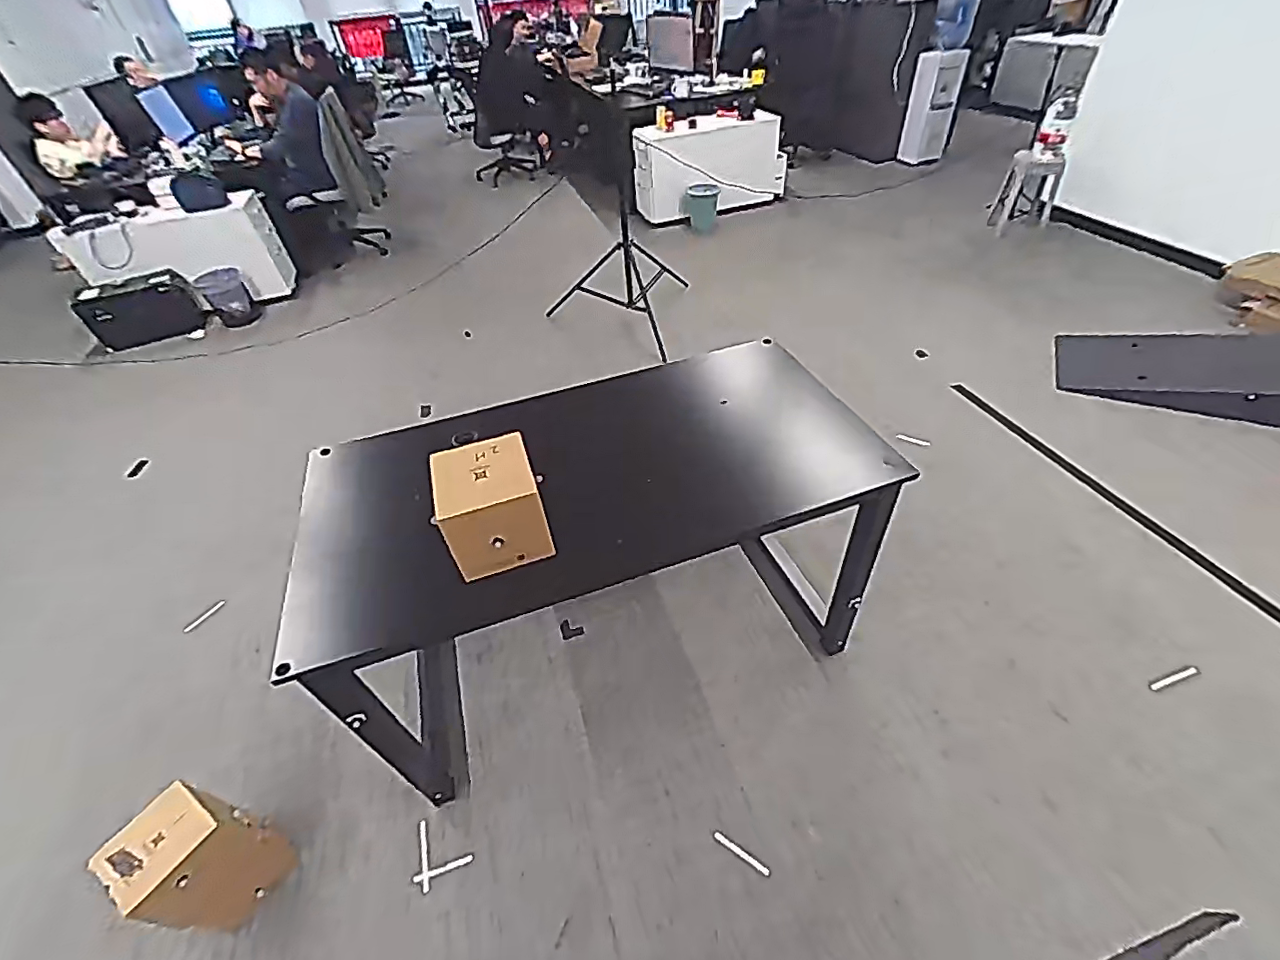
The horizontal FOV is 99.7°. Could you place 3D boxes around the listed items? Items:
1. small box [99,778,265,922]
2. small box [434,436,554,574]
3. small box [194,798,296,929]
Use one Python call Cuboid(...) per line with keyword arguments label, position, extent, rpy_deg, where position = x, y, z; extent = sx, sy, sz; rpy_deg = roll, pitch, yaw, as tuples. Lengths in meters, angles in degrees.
Cuboid(label="small box", position=(-0.943, 0.775, 1.130), extent=(0.168, 0.176, 0.179), rpy_deg=(21, 50, 25))
Cuboid(label="small box", position=(-0.265, 0.051, 0.994), extent=(0.168, 0.176, 0.179), rpy_deg=(-16, 44, -11))
Cuboid(label="small box", position=(-0.941, 0.887, 1.252), extent=(0.168, 0.176, 0.179), rpy_deg=(20, 49, 24))
